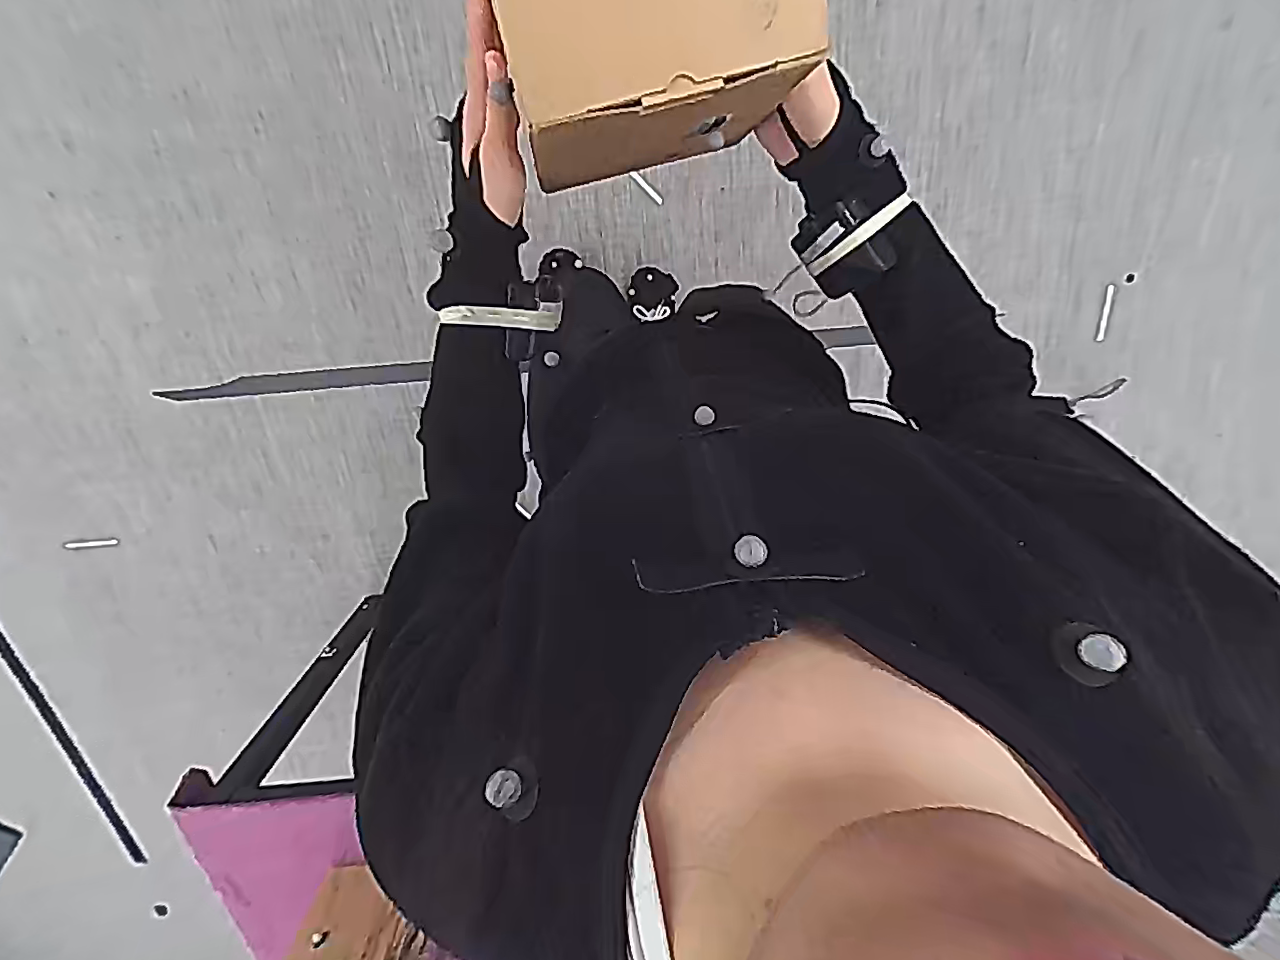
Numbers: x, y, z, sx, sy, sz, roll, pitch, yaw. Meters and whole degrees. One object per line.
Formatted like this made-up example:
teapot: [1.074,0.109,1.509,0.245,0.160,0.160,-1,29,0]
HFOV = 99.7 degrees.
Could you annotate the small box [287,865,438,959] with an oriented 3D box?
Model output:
small box: [-0.490,0.833,0.974,0.179,0.176,0.168,-4,112,0]
